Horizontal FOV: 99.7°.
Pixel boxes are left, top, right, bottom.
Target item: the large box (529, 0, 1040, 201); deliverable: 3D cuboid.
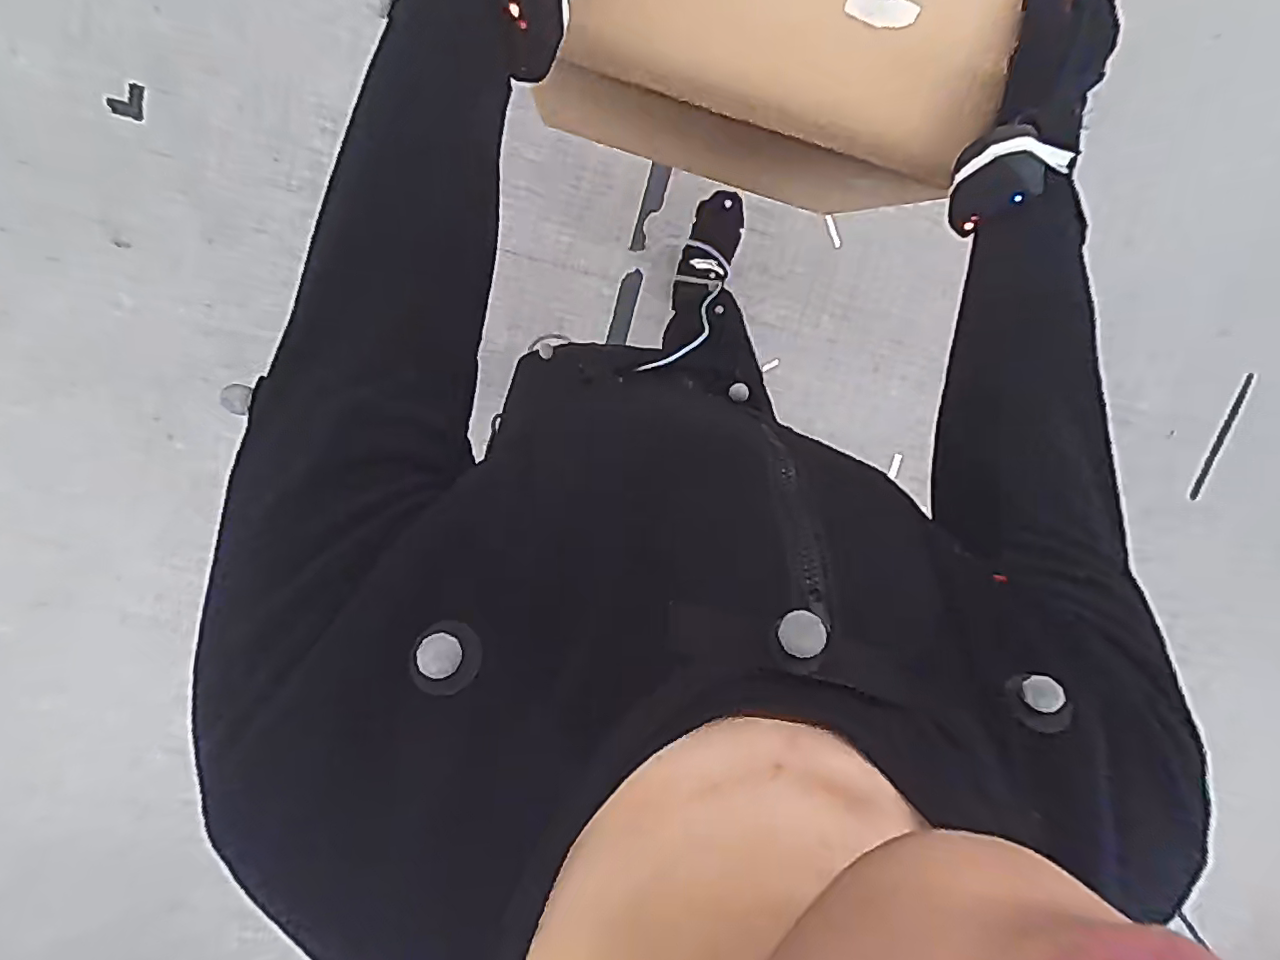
[{"bbox_3d":[0.124,-0.504,0.535,0.408,0.320,0.320,12,113,-10],"label":"large box"}]
